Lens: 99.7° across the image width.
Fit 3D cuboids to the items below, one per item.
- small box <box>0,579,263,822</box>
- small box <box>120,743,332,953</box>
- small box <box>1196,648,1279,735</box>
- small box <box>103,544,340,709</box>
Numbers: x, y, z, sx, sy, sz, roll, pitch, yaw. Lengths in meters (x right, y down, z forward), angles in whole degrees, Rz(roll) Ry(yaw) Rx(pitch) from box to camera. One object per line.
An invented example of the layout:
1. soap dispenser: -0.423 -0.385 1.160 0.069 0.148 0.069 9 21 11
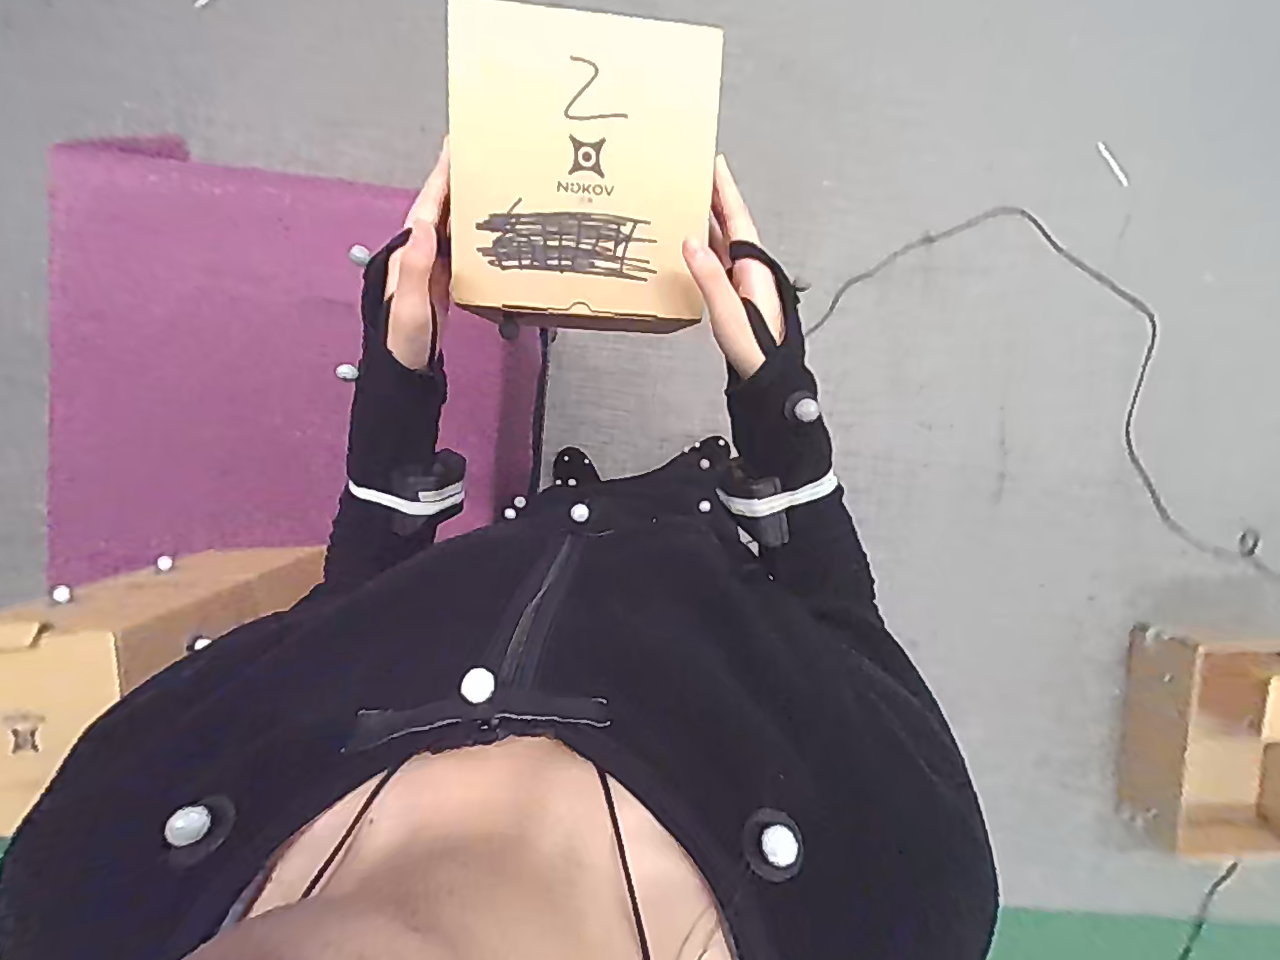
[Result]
1. small box: -0.514 0.201 0.539 0.168 0.176 0.179 0 96 -1
2. small box: -0.541 0.480 0.728 0.168 0.176 0.179 3 95 -2
3. small box: 1.717 0.582 1.507 0.168 0.176 0.179 1 97 -1
4. small box: -0.524 0.182 0.701 0.179 0.176 0.168 -2 96 -2
